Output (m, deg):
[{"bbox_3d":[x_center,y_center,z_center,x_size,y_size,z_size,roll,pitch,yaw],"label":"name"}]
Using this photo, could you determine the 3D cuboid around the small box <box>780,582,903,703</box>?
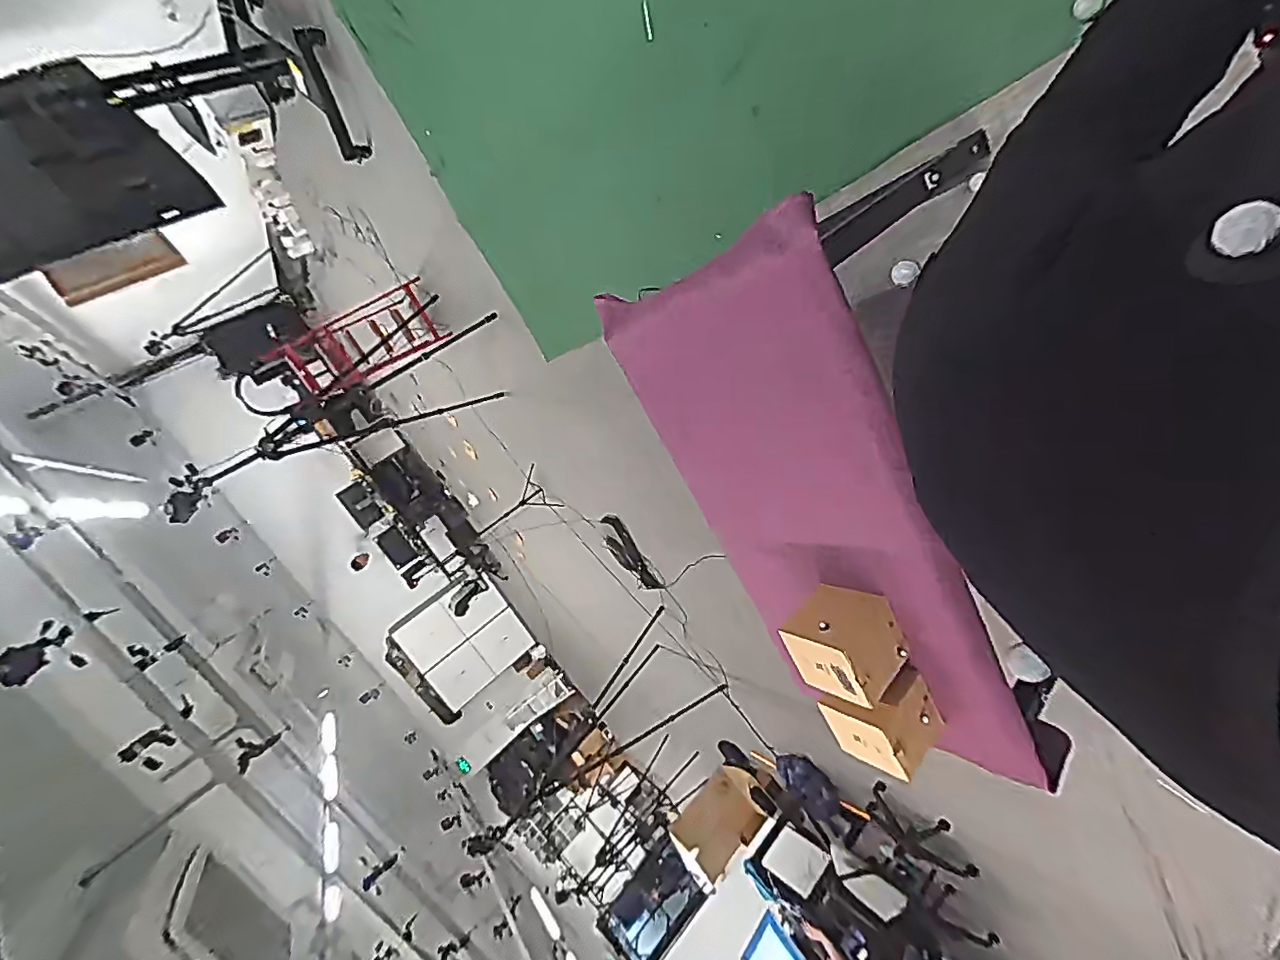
[{"bbox_3d":[0.449,0.345,1.186,0.179,0.176,0.168,1,124,58],"label":"small box"}]

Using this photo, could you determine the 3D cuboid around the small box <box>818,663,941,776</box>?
[{"bbox_3d":[0.553,0.528,1.248,0.179,0.176,0.168,-2,123,59],"label":"small box"}]
